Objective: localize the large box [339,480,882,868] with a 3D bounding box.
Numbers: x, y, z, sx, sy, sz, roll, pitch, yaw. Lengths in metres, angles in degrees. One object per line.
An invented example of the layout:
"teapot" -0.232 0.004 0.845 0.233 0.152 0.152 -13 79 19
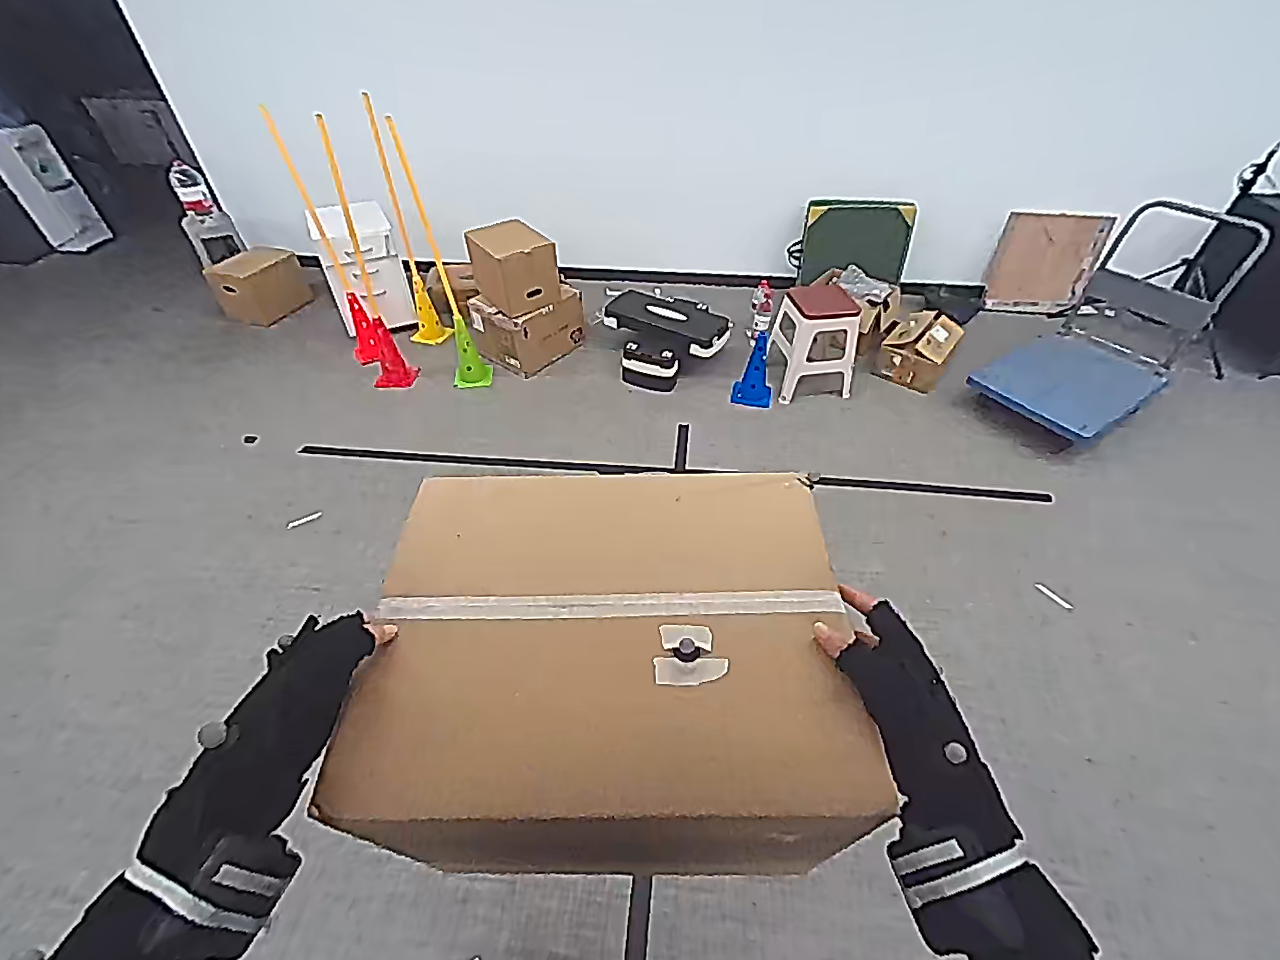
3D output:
"large box" -0.022 0.216 0.597 0.408 0.320 0.320 0 48 1
